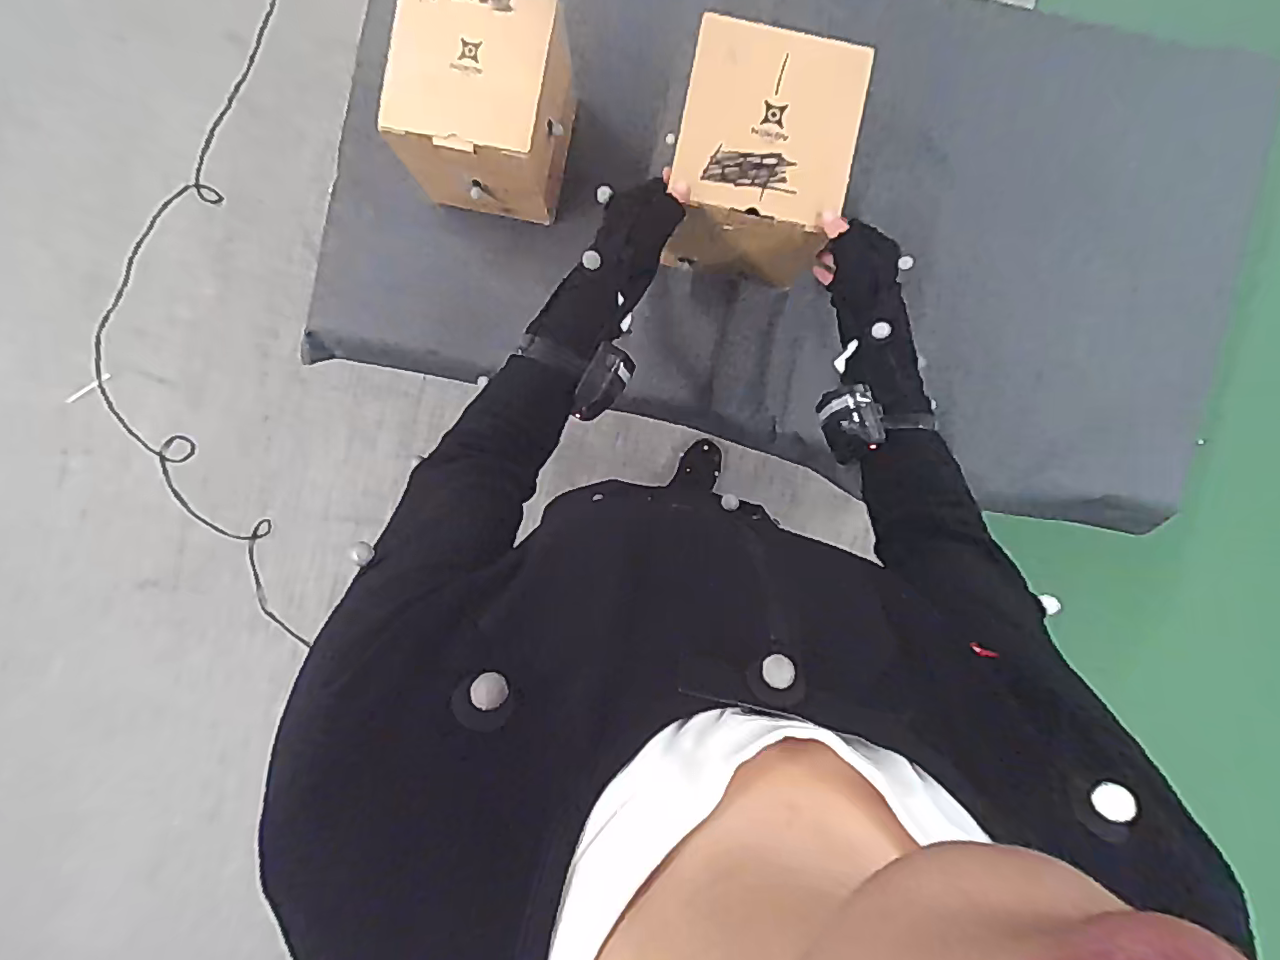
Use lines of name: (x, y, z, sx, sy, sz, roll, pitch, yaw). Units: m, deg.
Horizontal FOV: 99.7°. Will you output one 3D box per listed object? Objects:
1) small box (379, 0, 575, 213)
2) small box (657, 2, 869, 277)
small box: (-0.180, -0.451, 0.649, 0.168, 0.176, 0.179, 12, 93, 1)
small box: (0.115, -0.341, 0.581, 0.168, 0.176, 0.179, 12, 90, -1)
